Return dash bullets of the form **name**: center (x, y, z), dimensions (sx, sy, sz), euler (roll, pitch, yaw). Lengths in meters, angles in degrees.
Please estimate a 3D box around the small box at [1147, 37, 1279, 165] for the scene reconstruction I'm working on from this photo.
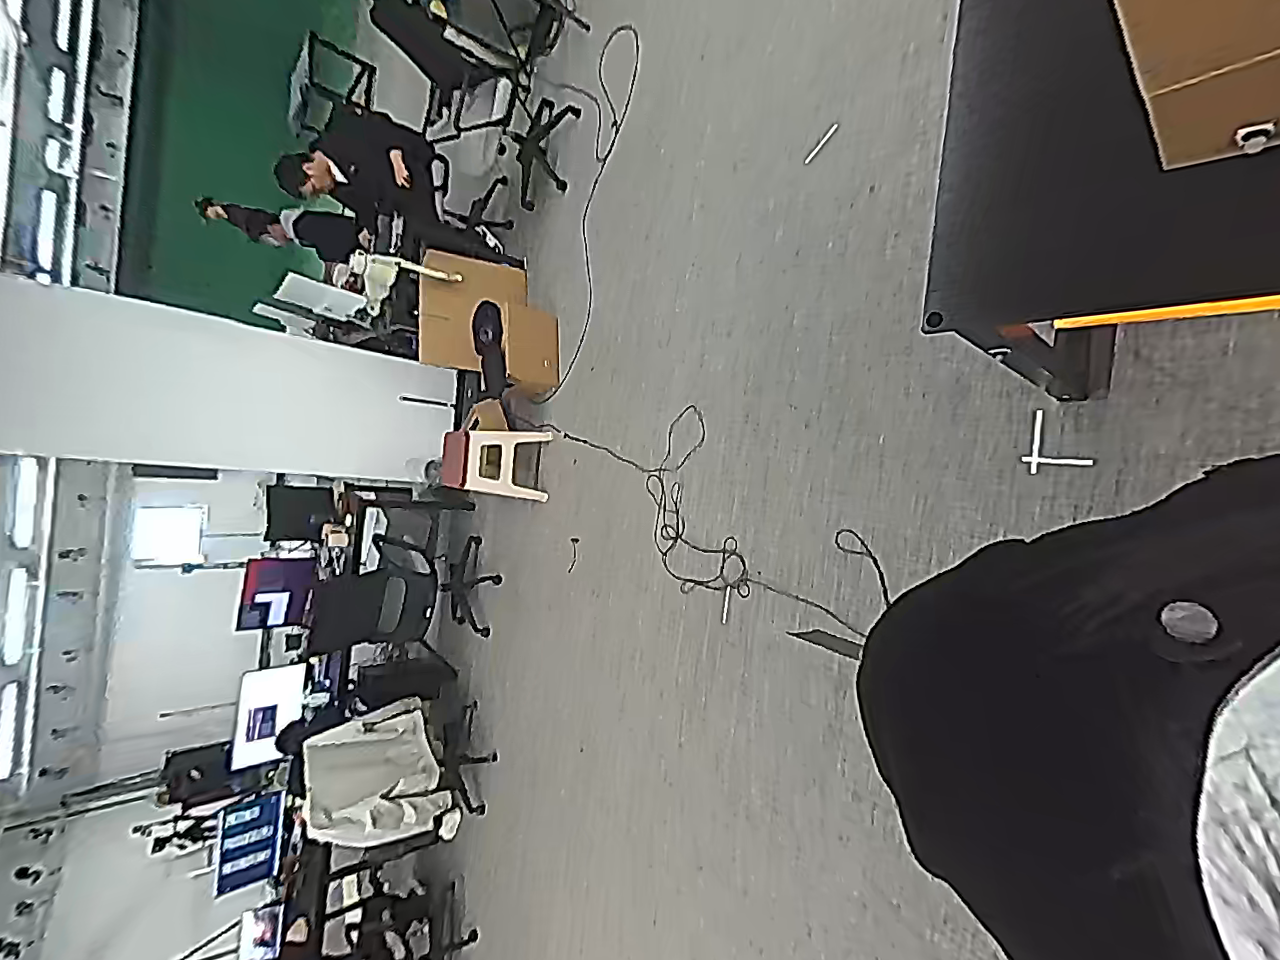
- **small box**: center (0.595, -0.432, 0.491), dimensions (0.168, 0.176, 0.179), euler (8, 93, 51)

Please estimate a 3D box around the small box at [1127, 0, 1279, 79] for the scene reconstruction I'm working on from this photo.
- **small box**: center (0.470, -0.442, 0.385), dimensions (0.179, 0.176, 0.168), euler (6, 91, 50)
